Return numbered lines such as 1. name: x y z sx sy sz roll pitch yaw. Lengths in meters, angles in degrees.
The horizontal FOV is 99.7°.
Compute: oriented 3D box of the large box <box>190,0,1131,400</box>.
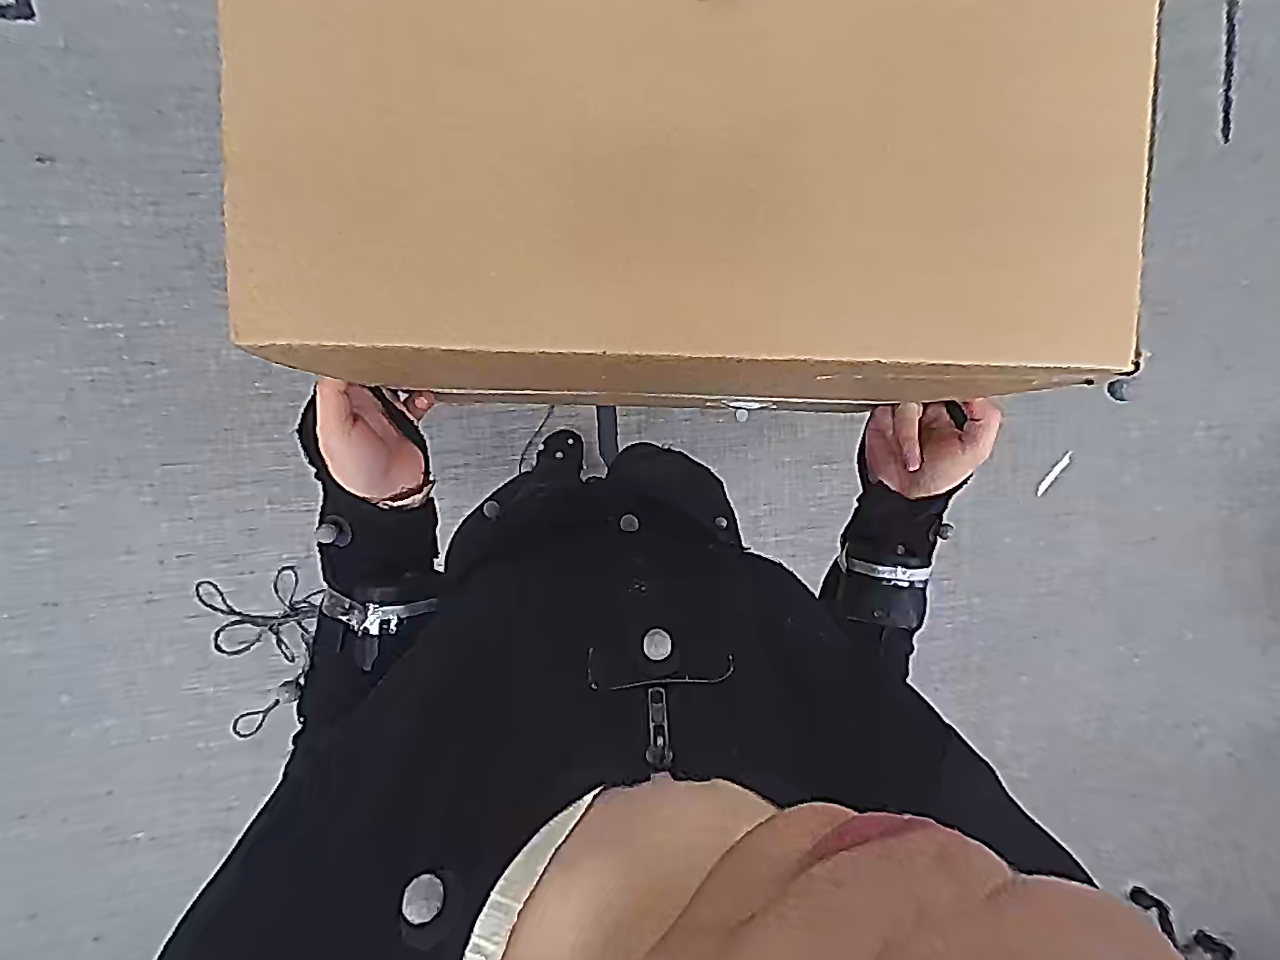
1. large box: 0.008 -0.222 0.372 0.408 0.320 0.320 -1 96 -3
